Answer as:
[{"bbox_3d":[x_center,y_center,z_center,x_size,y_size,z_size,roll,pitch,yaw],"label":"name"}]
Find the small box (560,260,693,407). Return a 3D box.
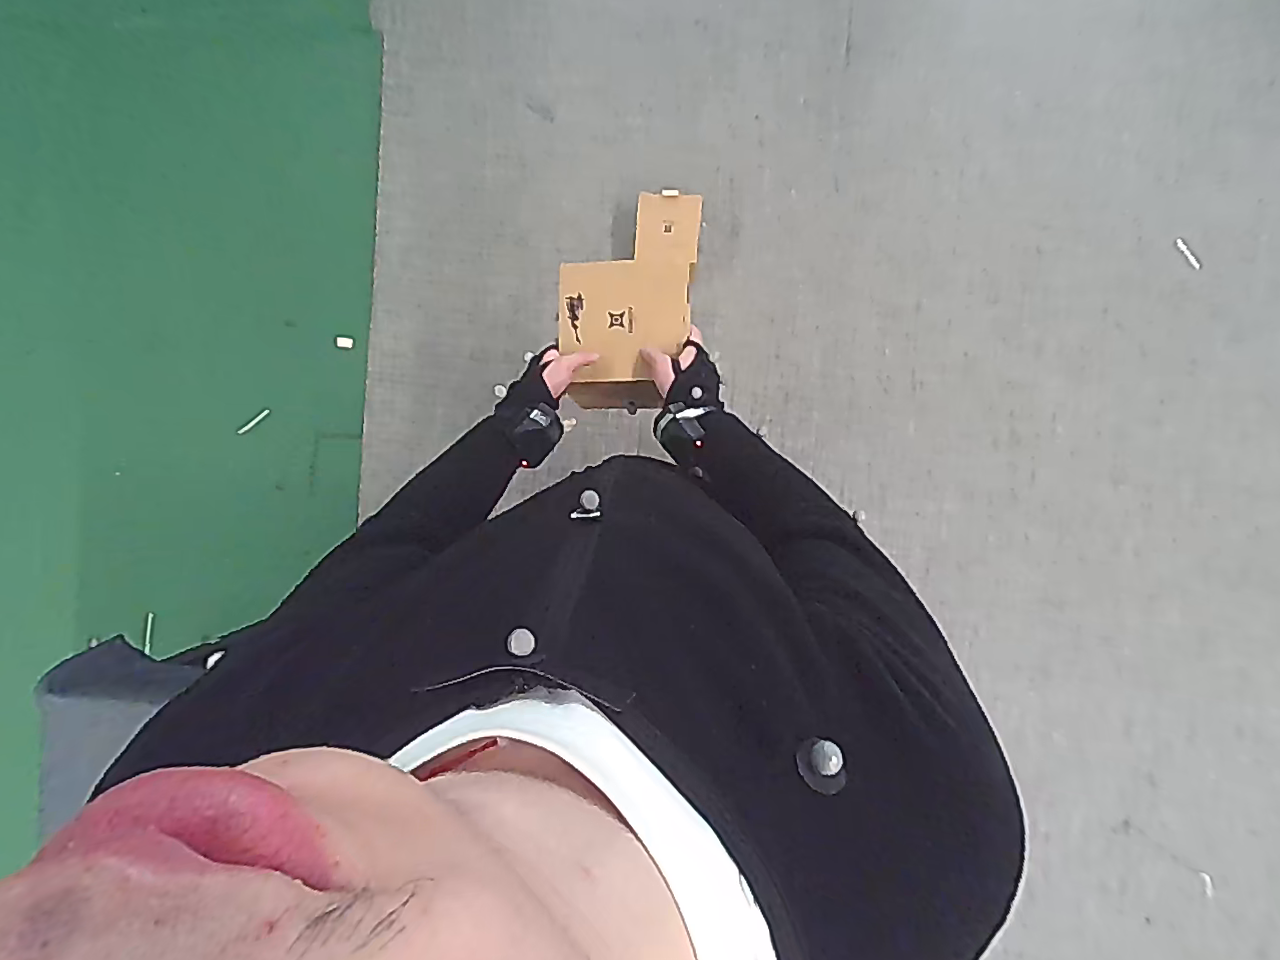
[{"bbox_3d":[-0.014,-0.206,0.795,0.179,0.176,0.168,0,85,4],"label":"small box"}]

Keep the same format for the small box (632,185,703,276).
[{"bbox_3d":[0.074,-0.658,1.450,0.168,0.176,0.179,7,93,5],"label":"small box"}]
